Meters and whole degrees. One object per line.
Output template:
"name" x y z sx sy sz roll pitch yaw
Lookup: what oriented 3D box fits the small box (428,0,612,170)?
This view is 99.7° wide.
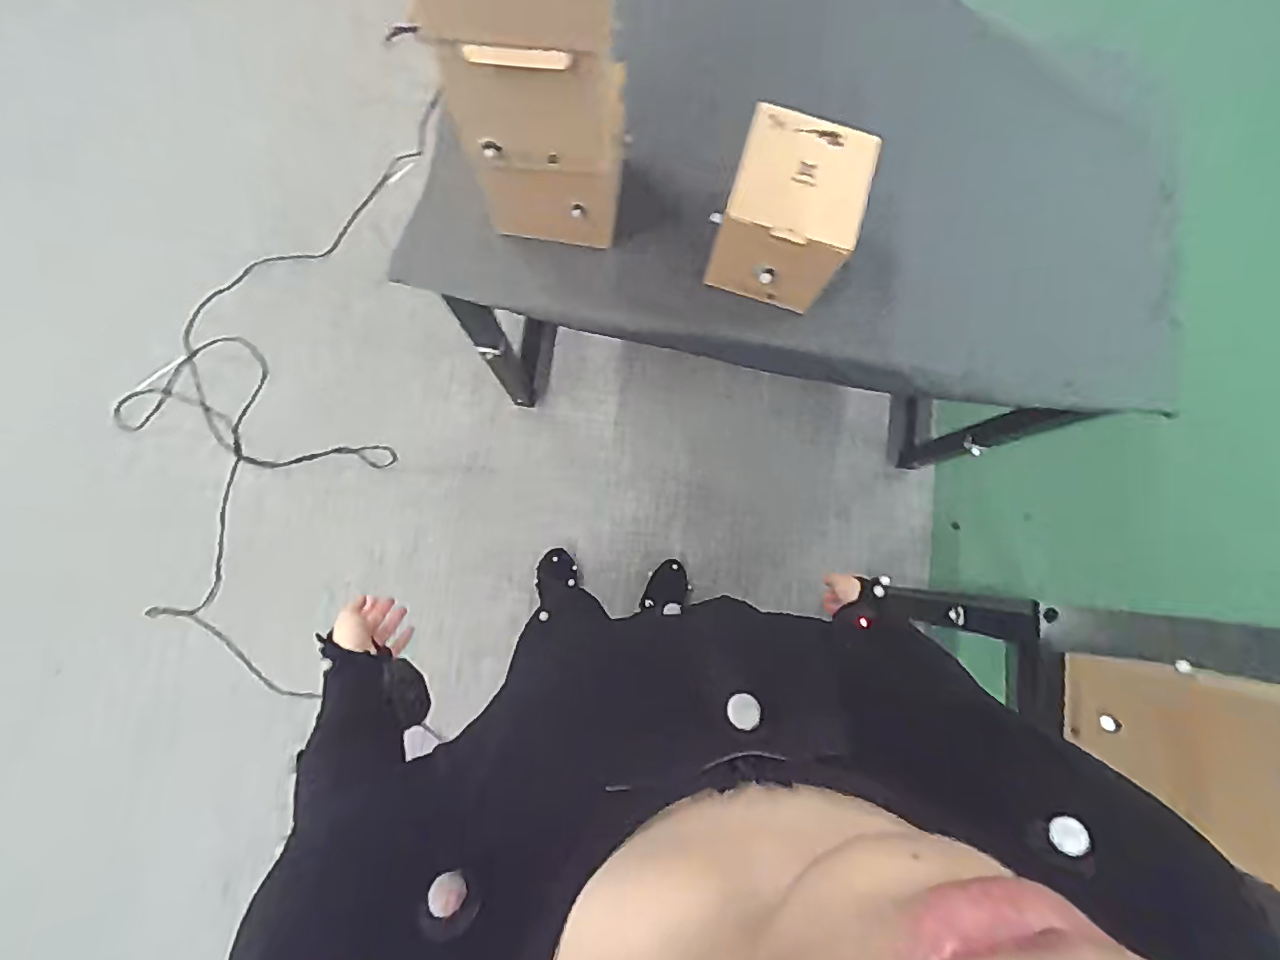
"small box" -0.118 -0.480 0.602 0.168 0.176 0.179 3 79 -2

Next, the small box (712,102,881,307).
"small box" 0.207 -0.373 0.763 0.168 0.176 0.179 17 81 1

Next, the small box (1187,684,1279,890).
"small box" 0.688 0.315 0.522 0.168 0.176 0.179 7 82 0

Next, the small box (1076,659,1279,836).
"small box" 0.700 0.332 0.684 0.179 0.176 0.168 7 83 -1

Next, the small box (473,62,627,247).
"small box" -0.115 -0.456 0.765 0.179 0.176 0.168 7 80 0
